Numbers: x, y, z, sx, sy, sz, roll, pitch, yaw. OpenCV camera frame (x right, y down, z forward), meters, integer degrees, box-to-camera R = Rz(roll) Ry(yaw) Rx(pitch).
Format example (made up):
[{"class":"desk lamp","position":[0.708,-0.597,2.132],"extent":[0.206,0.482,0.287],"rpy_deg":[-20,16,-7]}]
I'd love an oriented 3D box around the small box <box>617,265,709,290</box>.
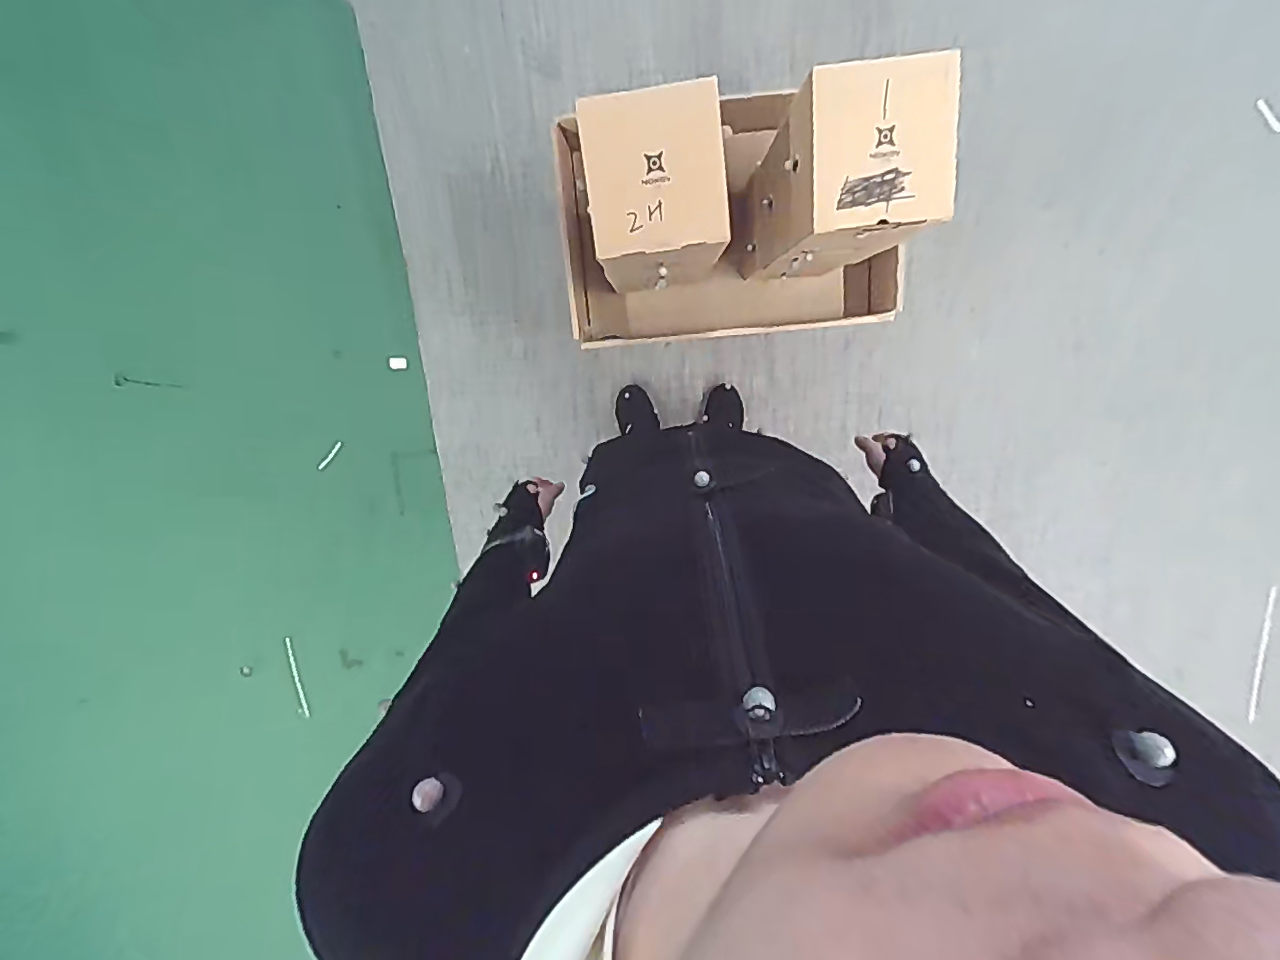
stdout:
[{"class":"small box","position":[0.032,-0.462,1.027],"extent":[0.179,0.176,0.168],"rpy_deg":[-5,104,2]}]

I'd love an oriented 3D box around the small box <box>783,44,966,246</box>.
[{"class":"small box","position":[0.283,-0.406,0.692],"extent":[0.168,0.176,0.179],"rpy_deg":[-4,103,3]}]

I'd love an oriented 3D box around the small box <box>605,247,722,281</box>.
[{"class":"small box","position":[0.028,-0.423,0.869],"extent":[0.179,0.176,0.168],"rpy_deg":[-7,103,3]}]

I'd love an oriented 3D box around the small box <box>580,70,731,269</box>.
[{"class":"small box","position":[0.022,-0.387,0.707],"extent":[0.168,0.176,0.179],"rpy_deg":[-6,104,4]}]
